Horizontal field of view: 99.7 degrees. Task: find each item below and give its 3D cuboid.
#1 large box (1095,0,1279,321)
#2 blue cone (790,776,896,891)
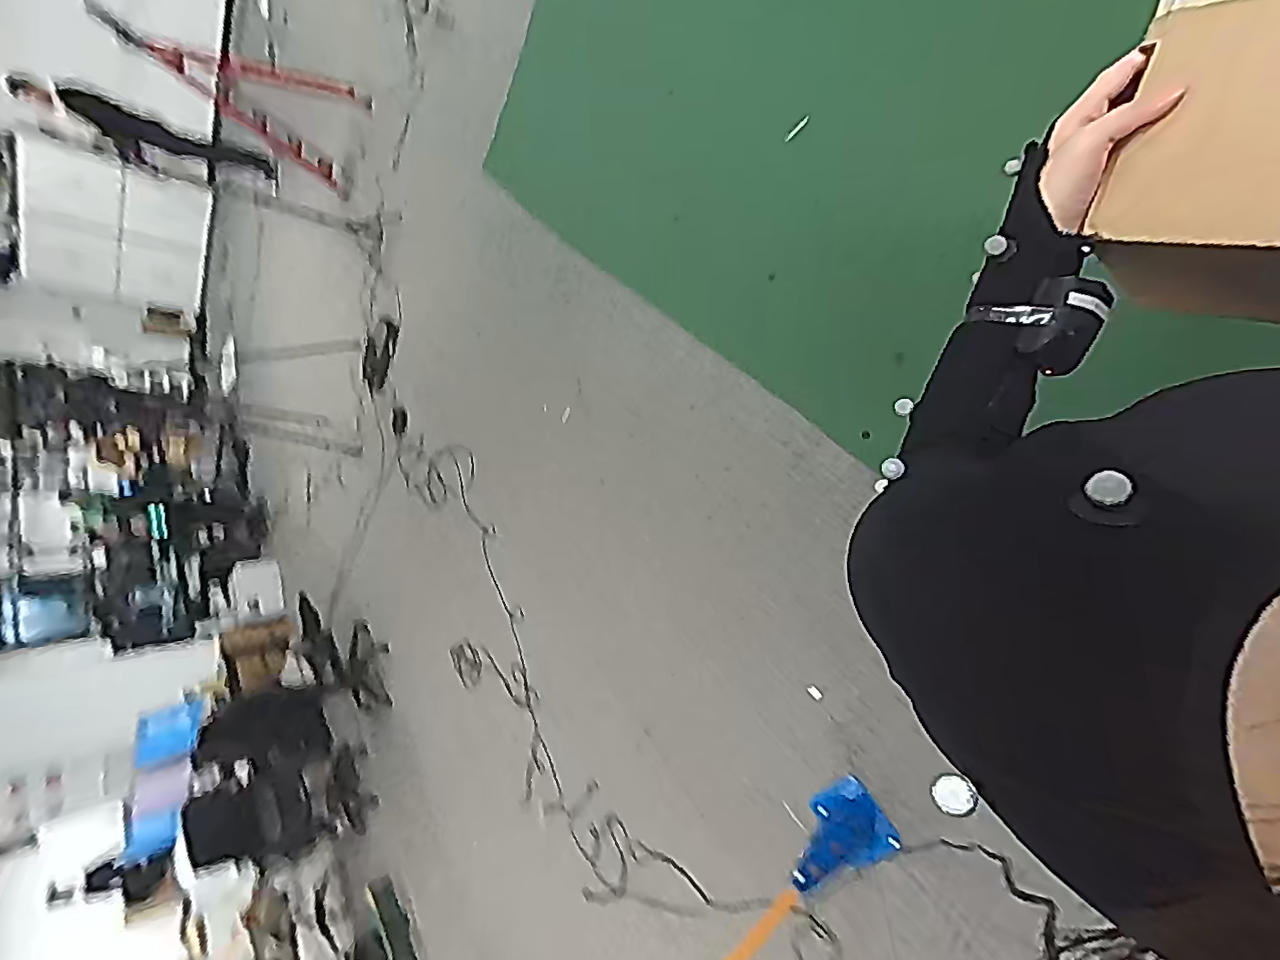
[{"bbox_3d":[0.609,-0.273,0.346,0.408,0.320,0.320,26,111,42],"label":"large box"},{"bbox_3d":[0.492,0.966,1.422,0.192,0.380,0.193,-51,58,29],"label":"blue cone"}]
